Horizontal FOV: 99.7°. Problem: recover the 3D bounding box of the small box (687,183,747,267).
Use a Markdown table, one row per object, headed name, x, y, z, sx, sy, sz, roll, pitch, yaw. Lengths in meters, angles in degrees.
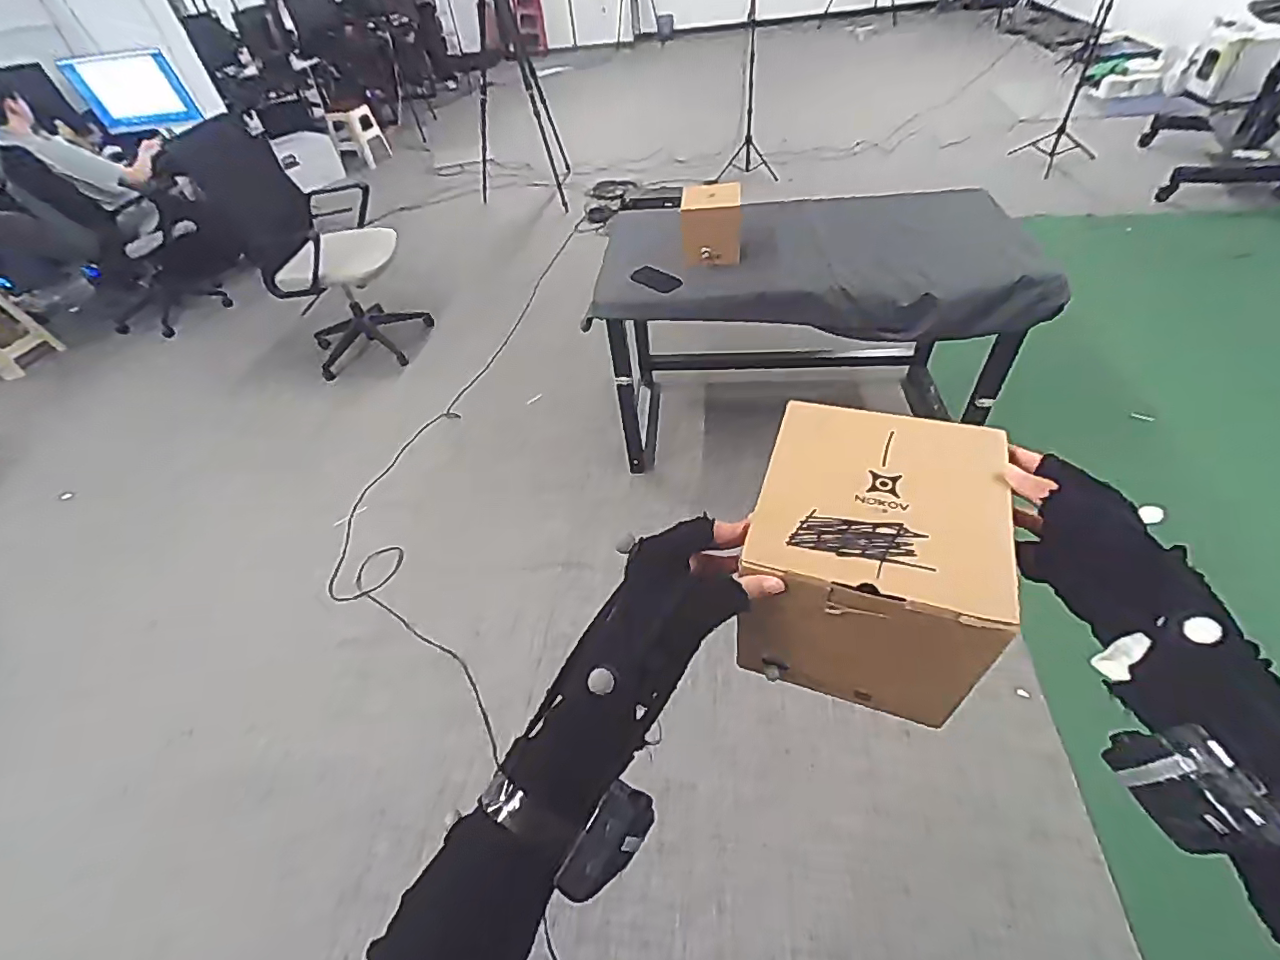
| name | x | y | z | sx | sy | sz | roll | pitch | yaw |
| --- | --- | --- | --- | --- | --- | --- | --- | --- | --- |
| small box | 0.227 | -0.745 | 1.583 | 0.168 | 0.176 | 0.179 | 0 | 48 | 9 |
